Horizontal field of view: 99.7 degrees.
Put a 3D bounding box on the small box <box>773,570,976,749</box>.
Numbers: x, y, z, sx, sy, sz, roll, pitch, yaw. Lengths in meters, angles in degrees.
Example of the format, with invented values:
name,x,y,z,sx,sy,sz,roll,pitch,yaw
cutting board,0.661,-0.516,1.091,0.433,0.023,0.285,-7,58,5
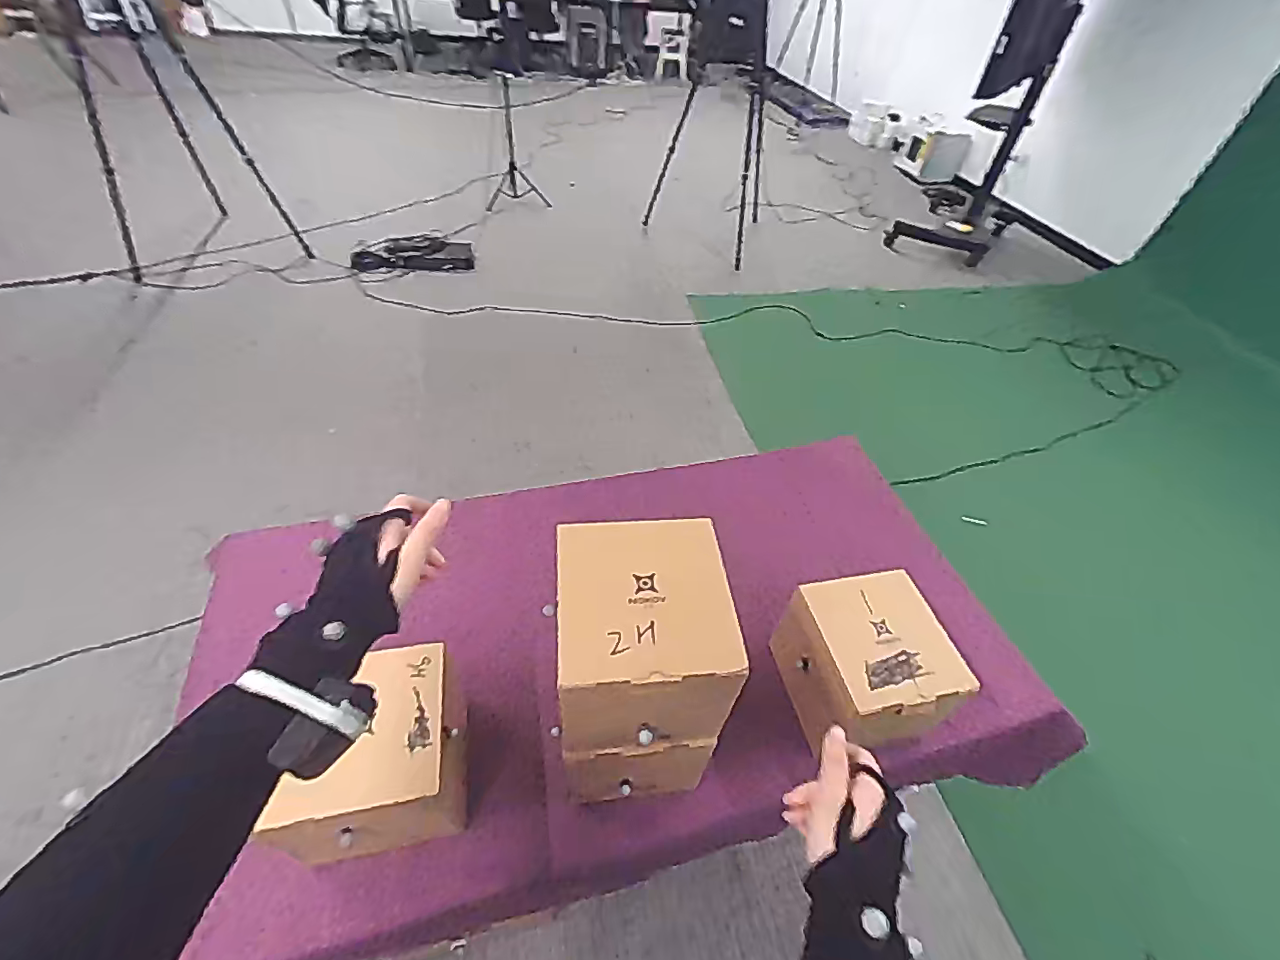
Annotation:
name,x,y,z,sx,sy,sz,roll,pitch,yaw
small box,0.304,0.251,0.744,0.168,0.176,0.179,-6,47,-11

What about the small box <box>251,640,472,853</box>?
name,x,y,z,sx,sy,sz,roll,pitch,yaw
small box,-0.301,0.311,0.630,0.179,0.176,0.168,-6,49,-11

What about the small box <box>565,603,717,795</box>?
name,x,y,z,sx,sy,sz,roll,pitch,yaw
small box,-0.012,0.278,0.691,0.168,0.176,0.179,-2,48,-8
